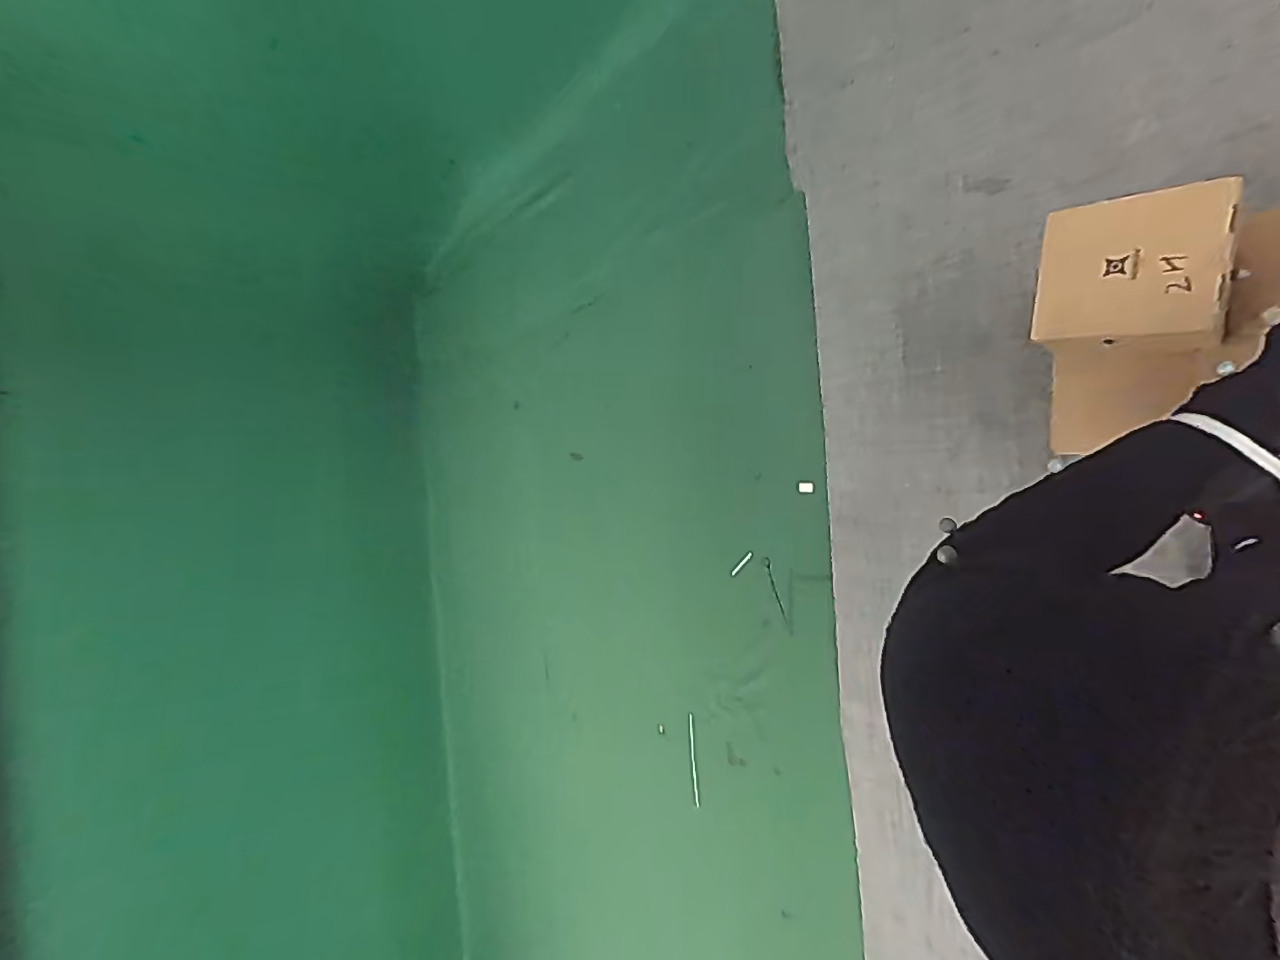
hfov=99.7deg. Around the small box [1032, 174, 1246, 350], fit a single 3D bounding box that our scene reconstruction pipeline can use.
[{"bbox_3d":[0.653,-0.266,0.712,0.179,0.176,0.168,11,101,47],"label":"small box"}]
